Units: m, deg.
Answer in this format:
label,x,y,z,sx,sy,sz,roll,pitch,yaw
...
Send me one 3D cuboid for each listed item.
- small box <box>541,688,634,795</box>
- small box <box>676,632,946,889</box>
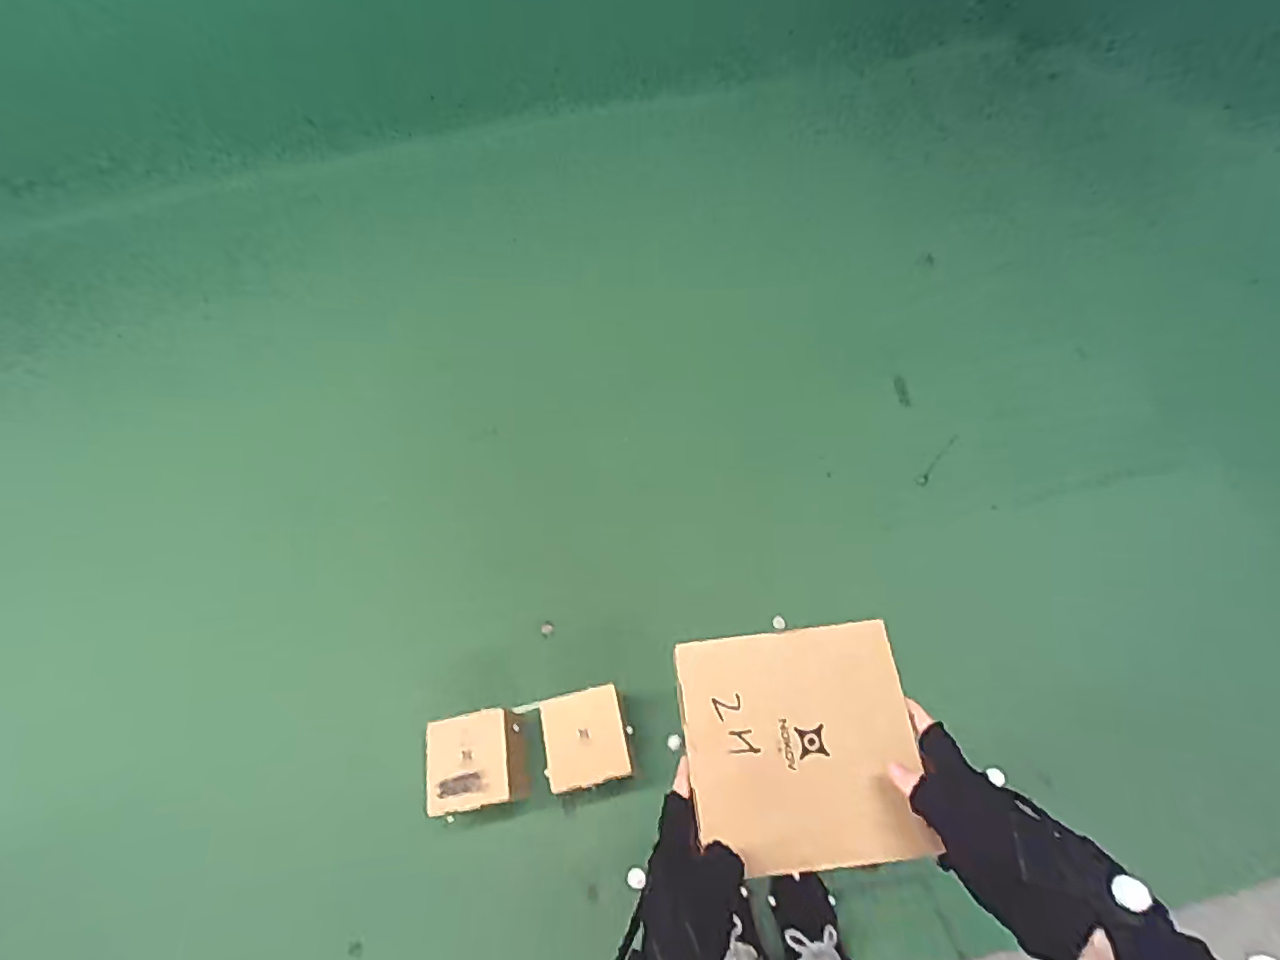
label,x,y,z,sx,sy,sz,roll,pitch,yaw
small box,-0.112,0.576,1.187,0.168,0.176,0.179,-13,62,-4
small box,0.127,0.234,0.483,0.179,0.176,0.168,-7,68,2
